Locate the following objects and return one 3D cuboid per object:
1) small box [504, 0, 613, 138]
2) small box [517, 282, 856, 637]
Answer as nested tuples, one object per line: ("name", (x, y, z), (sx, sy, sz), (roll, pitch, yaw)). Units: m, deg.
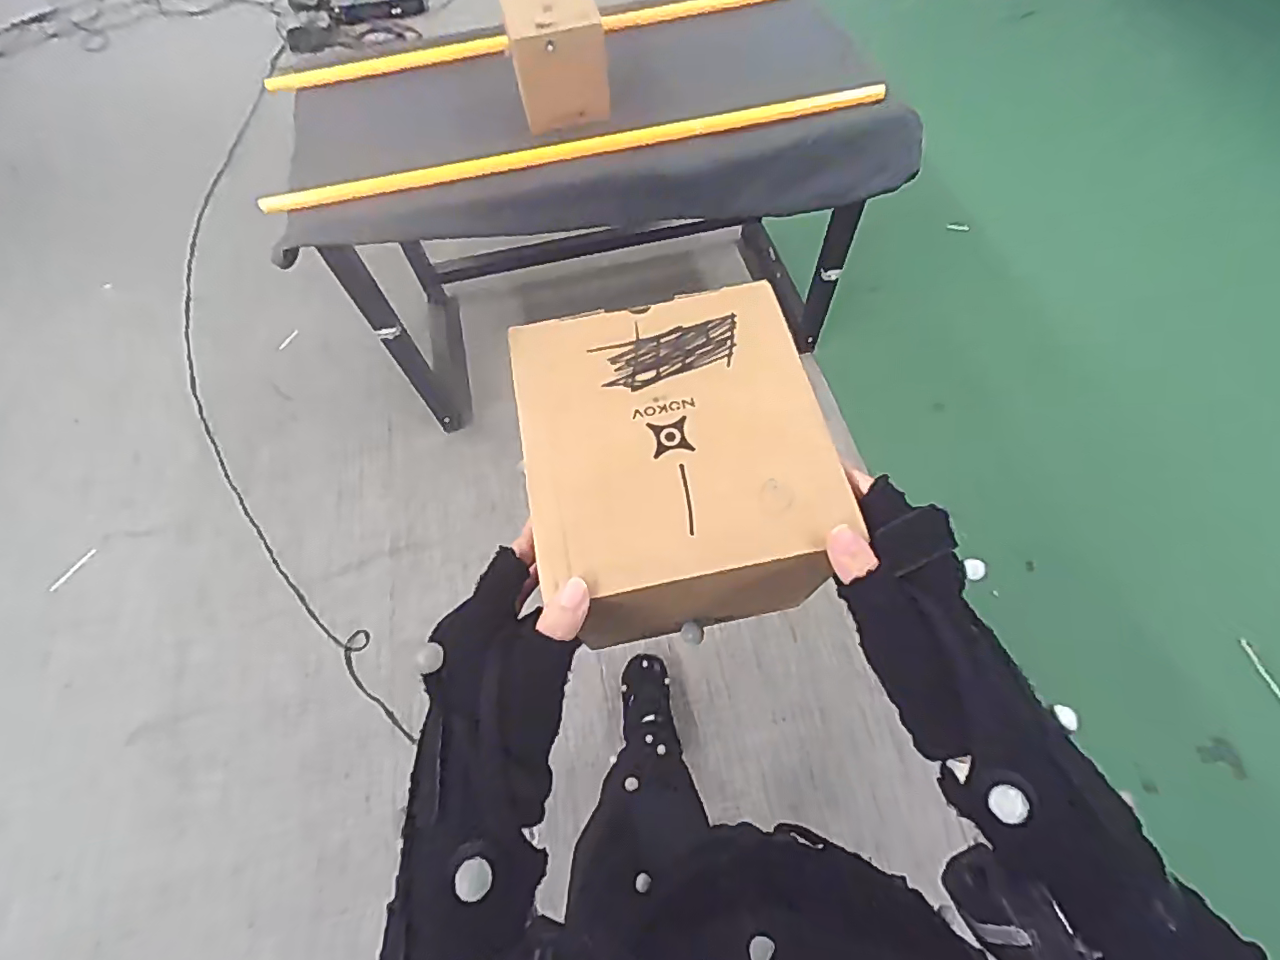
("small box", (-0.156, -0.812, 1.061), (0.168, 0.176, 0.179), (-15, 63, -4))
("small box", (0.020, -0.002, 0.379), (0.168, 0.176, 0.179), (-11, 66, -1))
